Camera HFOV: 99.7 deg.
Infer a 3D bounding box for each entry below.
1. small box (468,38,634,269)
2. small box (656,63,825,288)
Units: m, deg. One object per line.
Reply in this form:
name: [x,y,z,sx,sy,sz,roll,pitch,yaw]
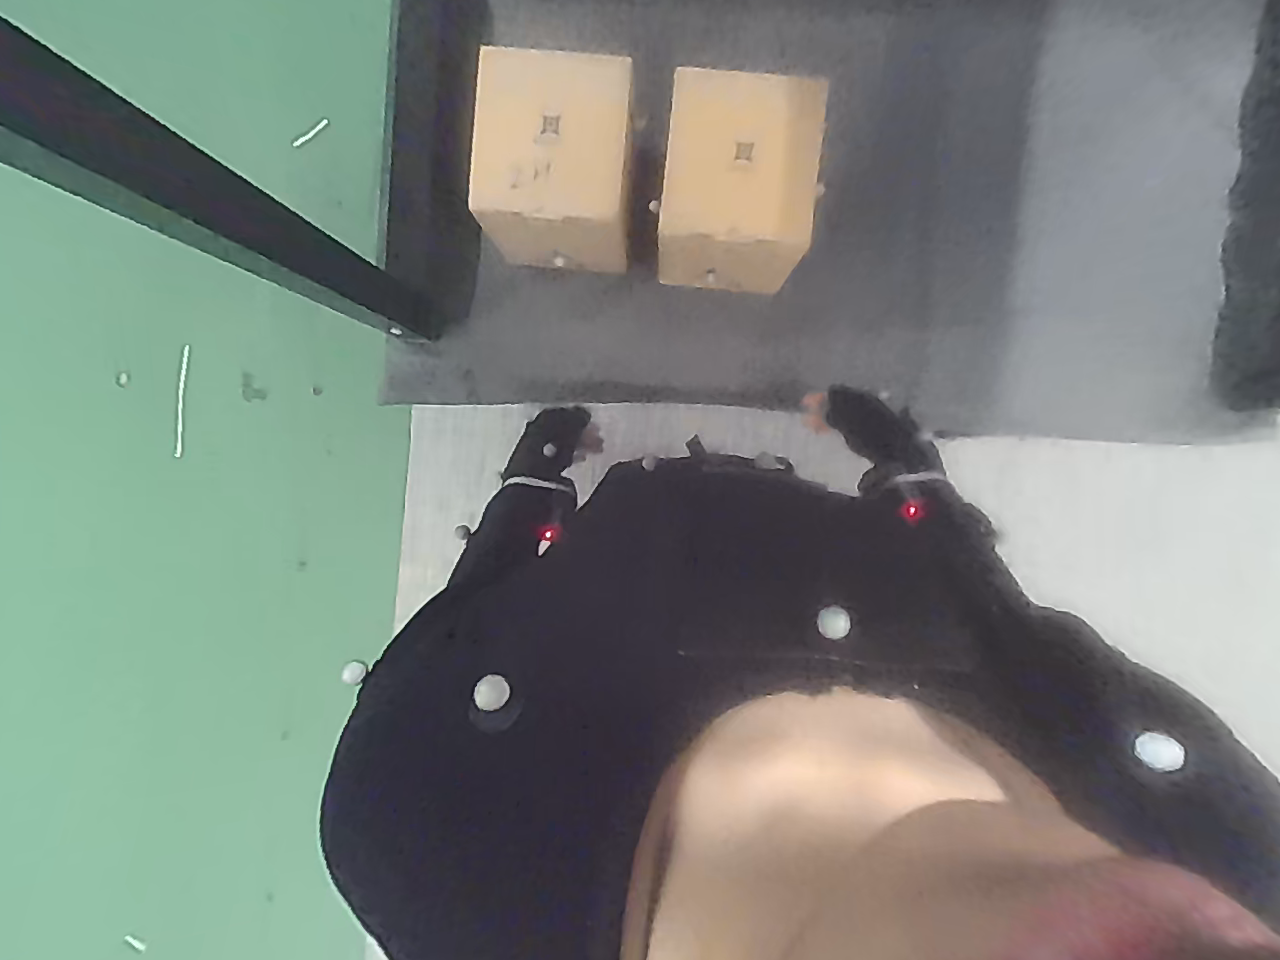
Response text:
small box: [-0.096,-0.381,0.660,0.168,0.176,0.179,6,93,1]
small box: [0.110,-0.354,0.659,0.168,0.176,0.179,6,93,1]
